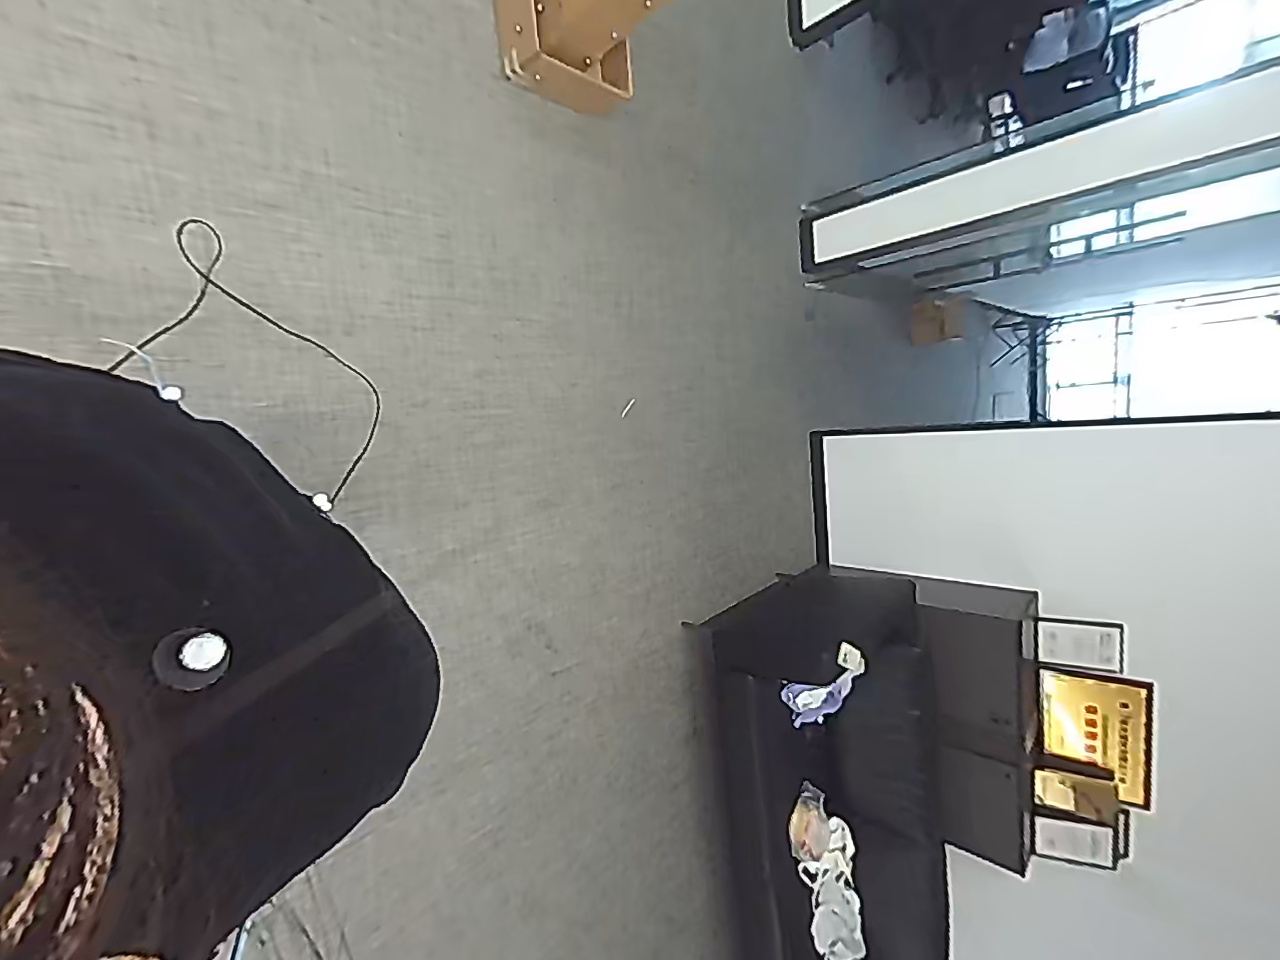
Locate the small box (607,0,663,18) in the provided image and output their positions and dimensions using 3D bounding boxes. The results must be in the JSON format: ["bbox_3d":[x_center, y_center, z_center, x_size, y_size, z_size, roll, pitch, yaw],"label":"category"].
[{"bbox_3d":[-0.014,-1.419,1.472,0.179,0.176,0.168,-9,97,-45],"label":"small box"}]
